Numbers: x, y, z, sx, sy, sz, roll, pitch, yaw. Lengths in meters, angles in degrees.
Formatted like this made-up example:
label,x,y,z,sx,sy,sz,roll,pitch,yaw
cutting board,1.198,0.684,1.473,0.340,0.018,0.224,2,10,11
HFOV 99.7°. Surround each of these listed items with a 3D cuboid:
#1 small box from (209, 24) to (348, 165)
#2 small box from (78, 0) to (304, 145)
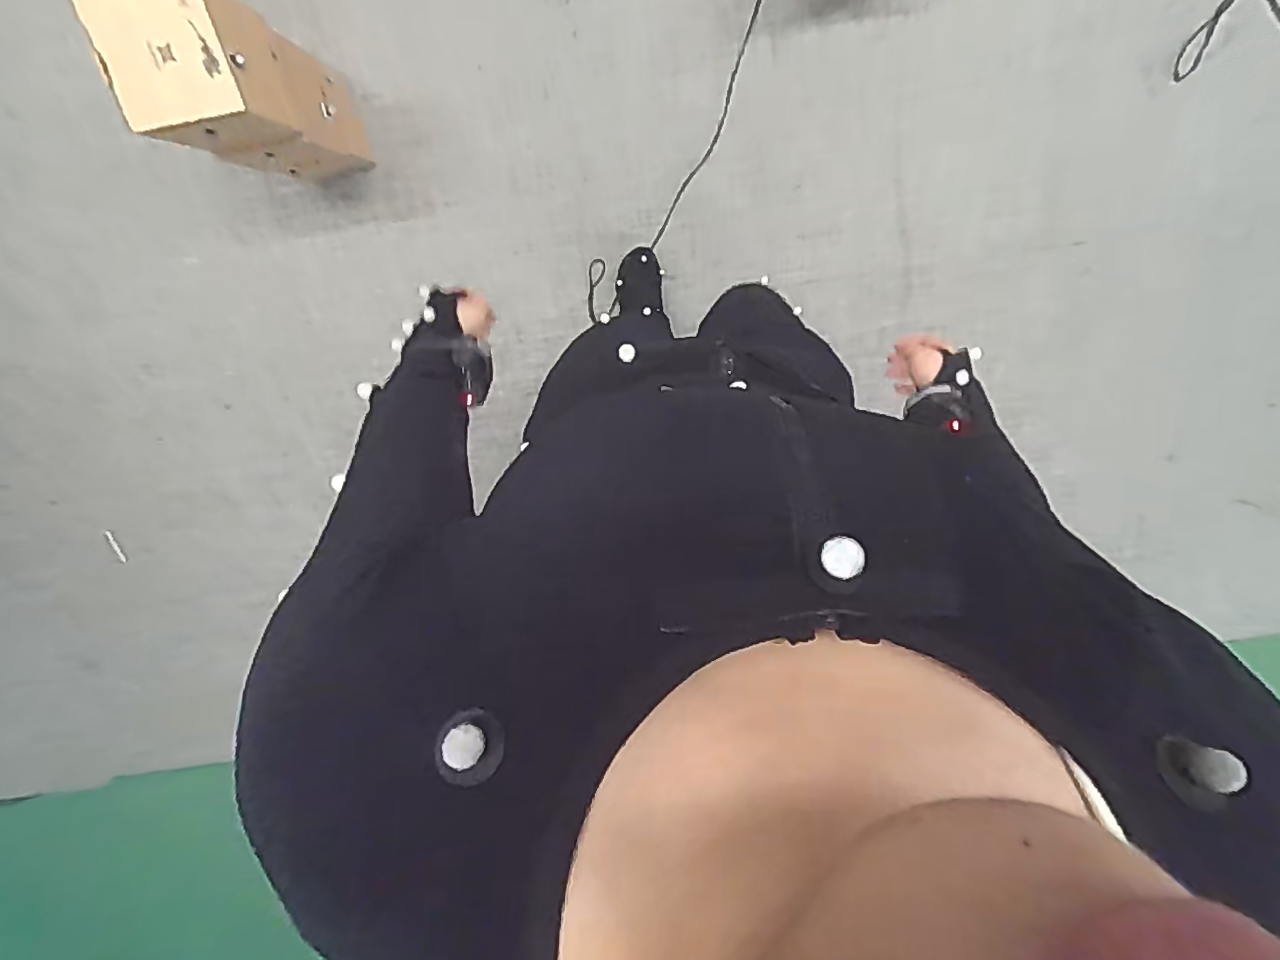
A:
label,x,y,z,sx,sy,sz,roll,pitch,yaw
small box,-0.676,-0.688,0.983,0.179,0.176,0.168,-10,113,2
small box,-0.668,-0.633,0.828,0.179,0.176,0.168,-9,113,3
